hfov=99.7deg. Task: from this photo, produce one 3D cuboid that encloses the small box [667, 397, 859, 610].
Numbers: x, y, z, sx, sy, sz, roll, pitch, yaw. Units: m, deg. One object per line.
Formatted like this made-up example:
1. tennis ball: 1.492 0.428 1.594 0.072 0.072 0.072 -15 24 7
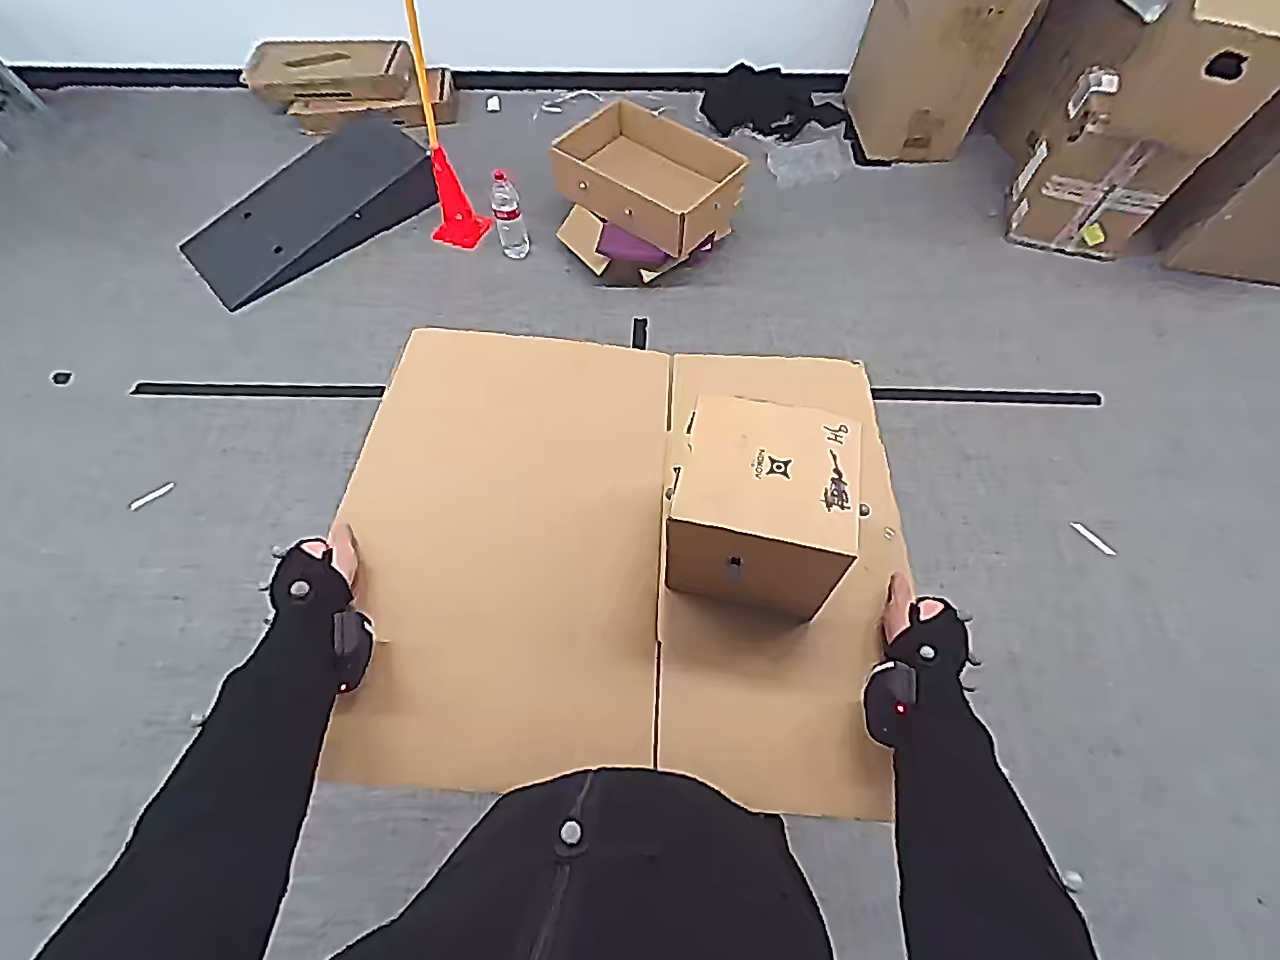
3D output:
1. small box: 0.133 0.032 0.611 0.179 0.176 0.168 10 58 9
